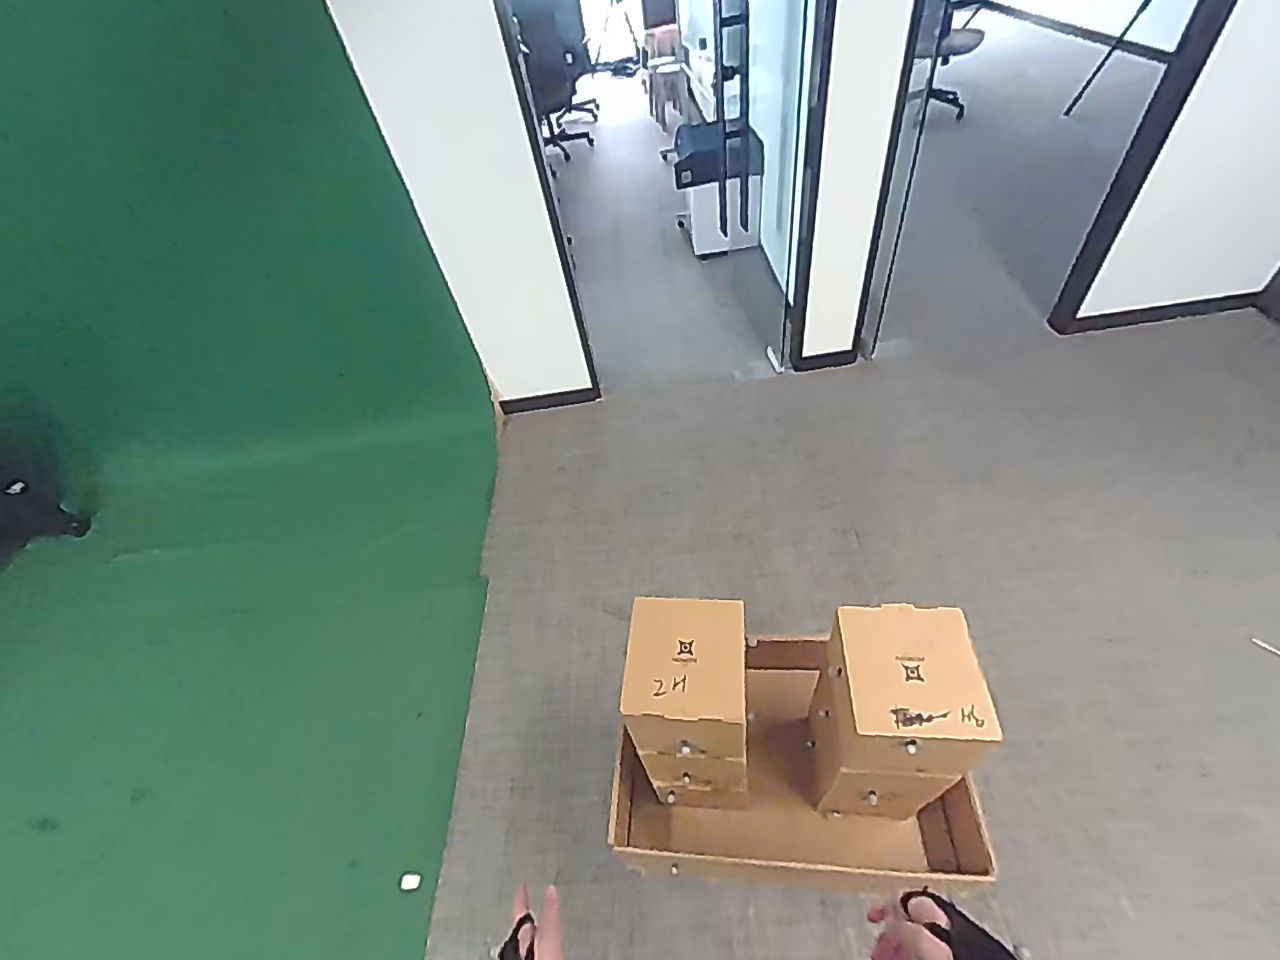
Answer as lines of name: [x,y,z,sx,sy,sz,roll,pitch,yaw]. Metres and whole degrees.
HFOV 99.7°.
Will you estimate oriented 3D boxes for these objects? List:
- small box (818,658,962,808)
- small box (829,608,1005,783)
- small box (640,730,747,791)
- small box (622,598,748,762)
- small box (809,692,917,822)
small box: [0.388,0.410,0.878,0.168,0.176,0.179,-1,49,10]
small box: [0.366,0.300,0.757,0.168,0.176,0.179,-1,48,11]
small box: [0.099,0.412,0.931,0.168,0.176,0.179,0,48,10]
small box: [0.076,0.299,0.812,0.168,0.176,0.179,0,48,11]
small box: [0.410,0.514,1.000,0.168,0.176,0.179,0,48,10]
